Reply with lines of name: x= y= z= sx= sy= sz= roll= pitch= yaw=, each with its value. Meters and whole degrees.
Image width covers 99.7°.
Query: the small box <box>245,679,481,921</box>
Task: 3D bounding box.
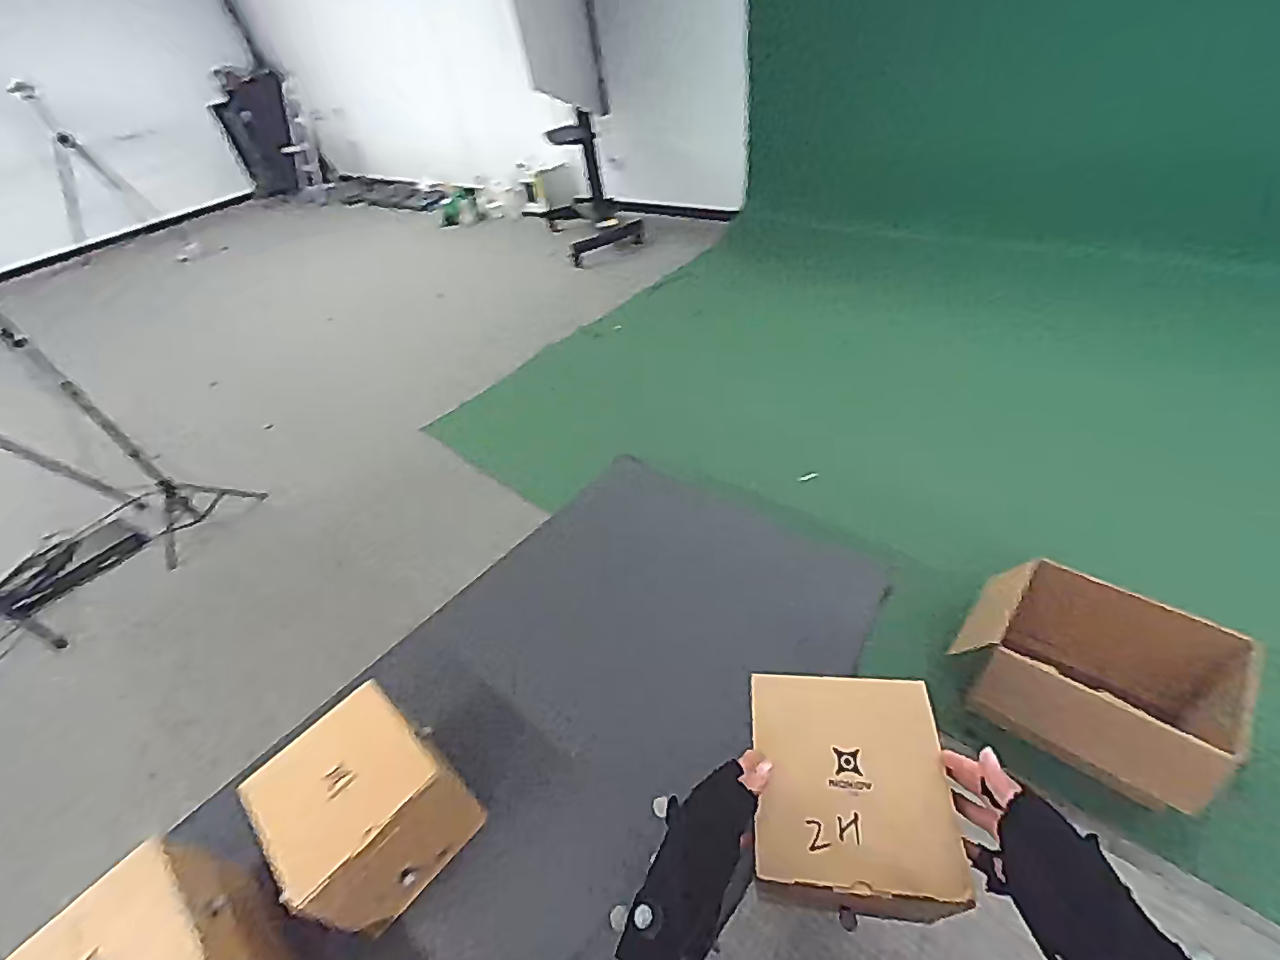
small box: x=-0.329 y=0.392 z=0.665 sx=0.179 sy=0.176 sz=0.168 roll=28 pitch=54 yaw=33

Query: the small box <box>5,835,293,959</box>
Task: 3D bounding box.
small box: x=-0.502 y=0.520 z=0.559 sx=0.179 sy=0.176 sz=0.168 roll=24 pitch=52 yaw=33

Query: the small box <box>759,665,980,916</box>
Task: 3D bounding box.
small box: x=0.204 y=0.307 z=0.540 sx=0.168 sy=0.176 sz=0.179 roll=-1 pitch=48 yaw=13
